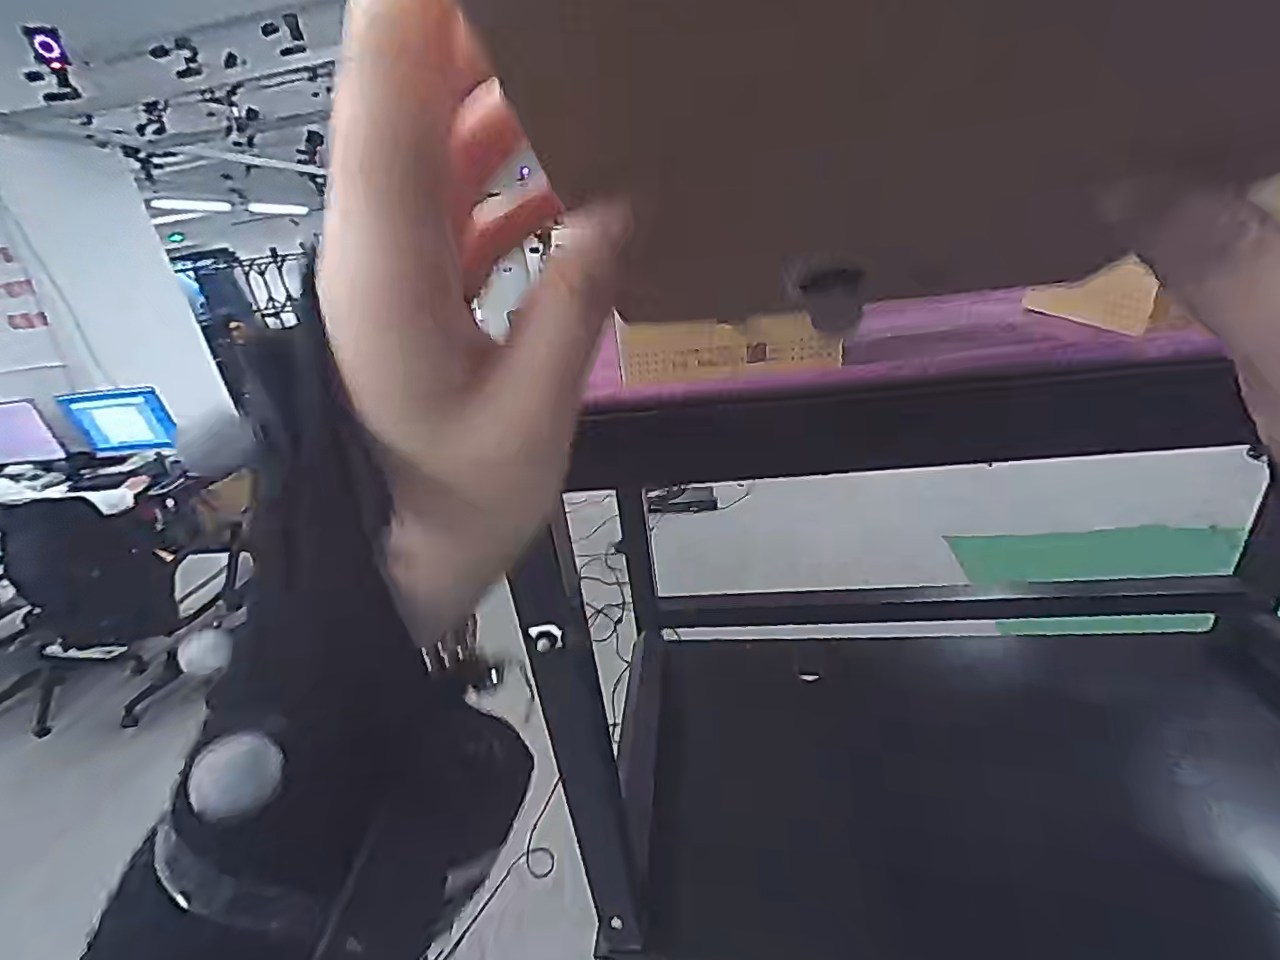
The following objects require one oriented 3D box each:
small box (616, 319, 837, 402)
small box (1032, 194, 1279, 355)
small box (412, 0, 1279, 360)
[{"bbox_3d":[0.068,-0.170,0.459,0.168,0.176,0.179,-4,24,9],"label":"small box"},{"bbox_3d":[0.437,-0.199,0.416,0.168,0.176,0.179,-4,26,10],"label":"small box"},{"bbox_3d":[0.054,-0.141,0.127,0.168,0.179,0.176,-4,-2,8],"label":"small box"}]
